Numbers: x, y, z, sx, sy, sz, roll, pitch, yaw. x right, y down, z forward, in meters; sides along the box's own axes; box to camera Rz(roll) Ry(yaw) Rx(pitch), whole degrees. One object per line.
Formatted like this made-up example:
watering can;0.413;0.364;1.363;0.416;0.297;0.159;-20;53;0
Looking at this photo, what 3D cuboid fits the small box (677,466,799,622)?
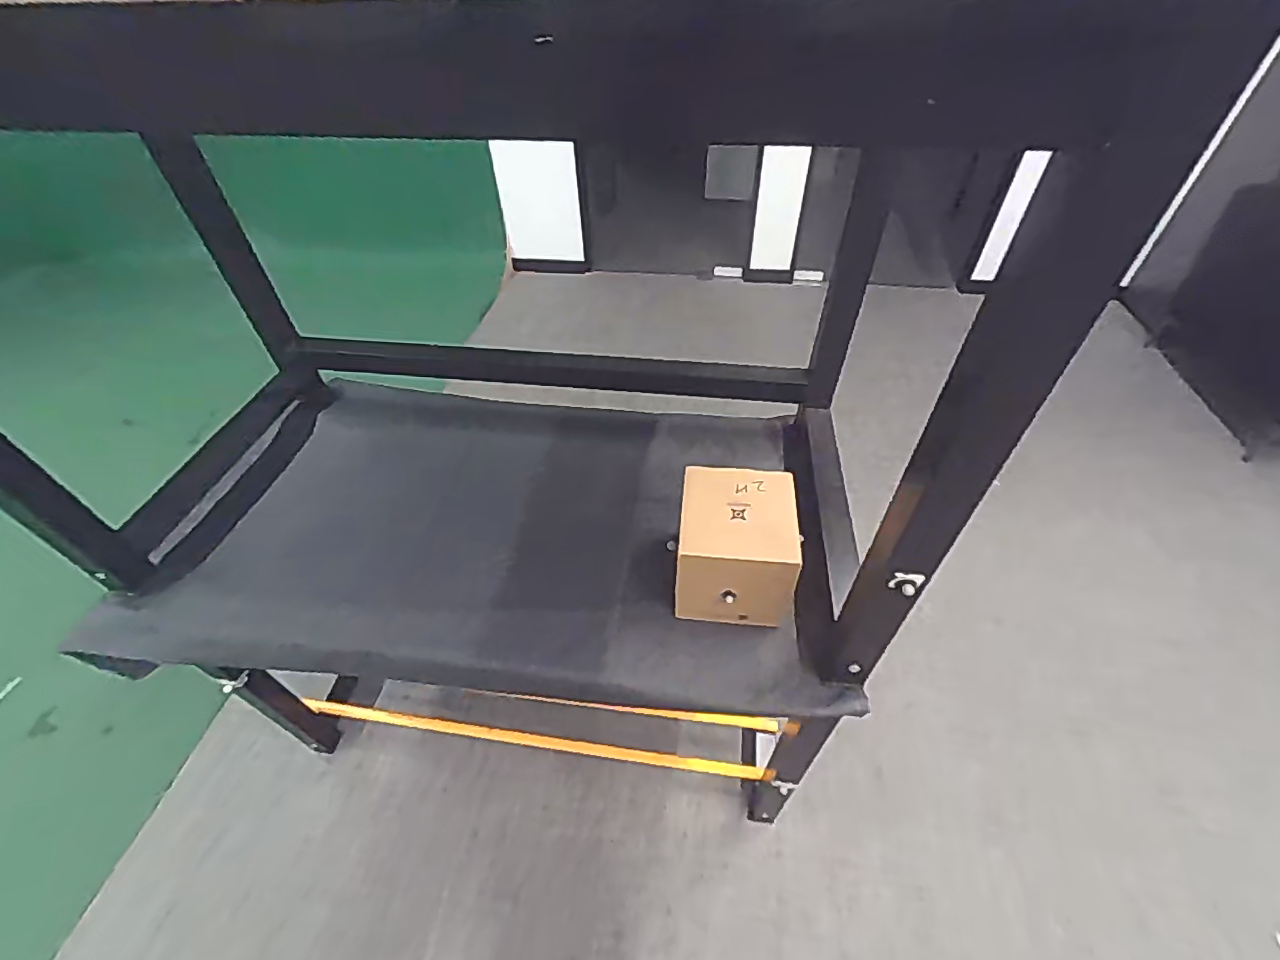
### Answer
small box;0.145;0.101;0.838;0.168;0.176;0.179;4;45;5
